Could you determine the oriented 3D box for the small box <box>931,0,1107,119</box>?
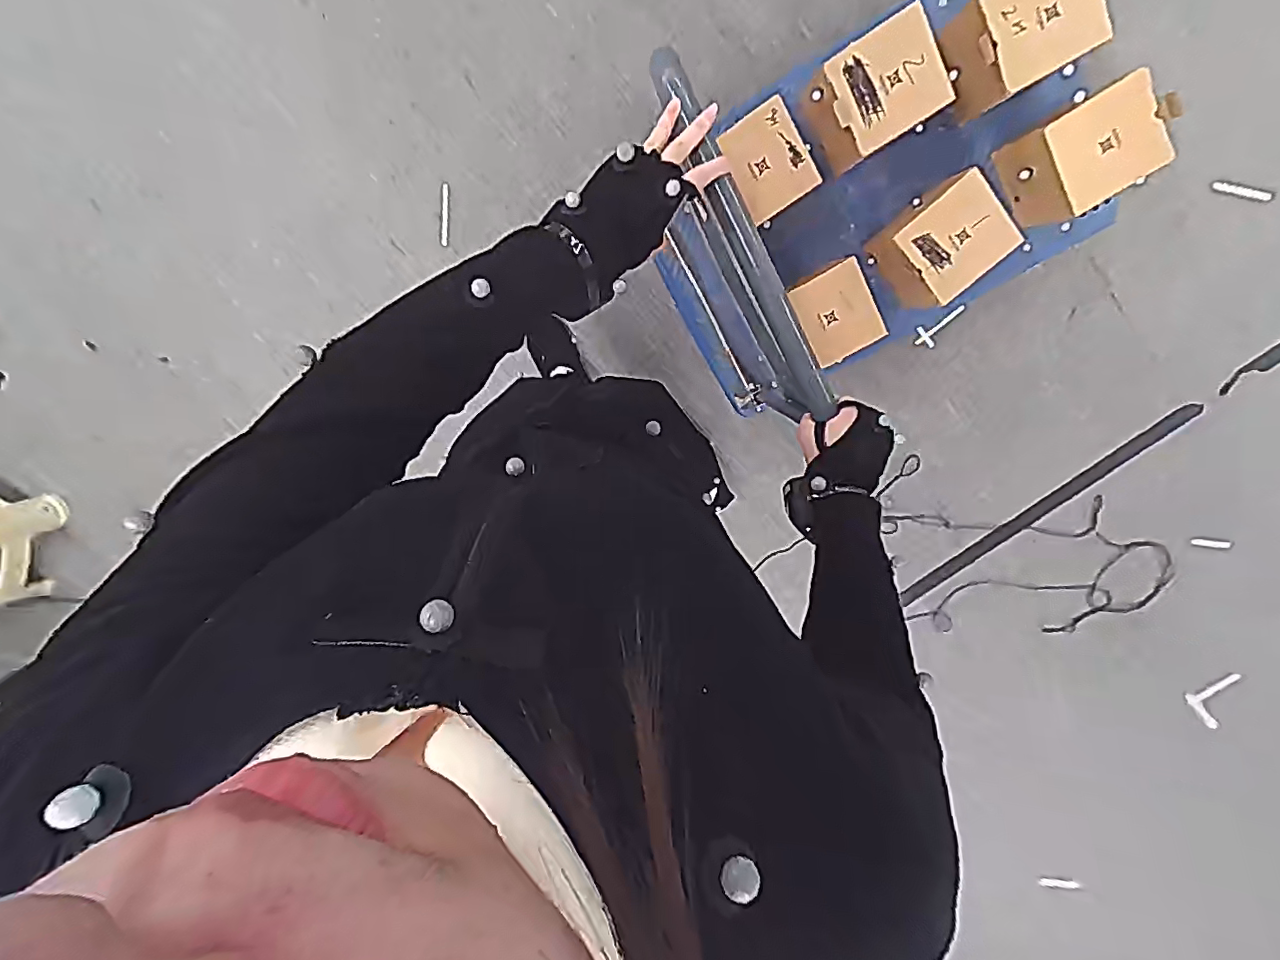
[{"bbox_3d":[0.660,-0.789,0.958,0.179,0.176,0.168,-26,105,11],"label":"small box"}]

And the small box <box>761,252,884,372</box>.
[{"bbox_3d":[0.363,-0.343,1.115,0.179,0.176,0.168,-28,105,9],"label":"small box"}]

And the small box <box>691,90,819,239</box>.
[{"bbox_3d":[0.210,-0.587,1.039,0.179,0.176,0.168,-31,105,11],"label":"small box"}]

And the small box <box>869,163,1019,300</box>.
[{"bbox_3d":[0.580,-0.473,1.065,0.179,0.176,0.168,-40,102,12],"label":"small box"}]

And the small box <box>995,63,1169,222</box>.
[{"bbox_3d":[0.807,-0.614,1.013,0.179,0.176,0.168,-31,104,11],"label":"small box"}]
